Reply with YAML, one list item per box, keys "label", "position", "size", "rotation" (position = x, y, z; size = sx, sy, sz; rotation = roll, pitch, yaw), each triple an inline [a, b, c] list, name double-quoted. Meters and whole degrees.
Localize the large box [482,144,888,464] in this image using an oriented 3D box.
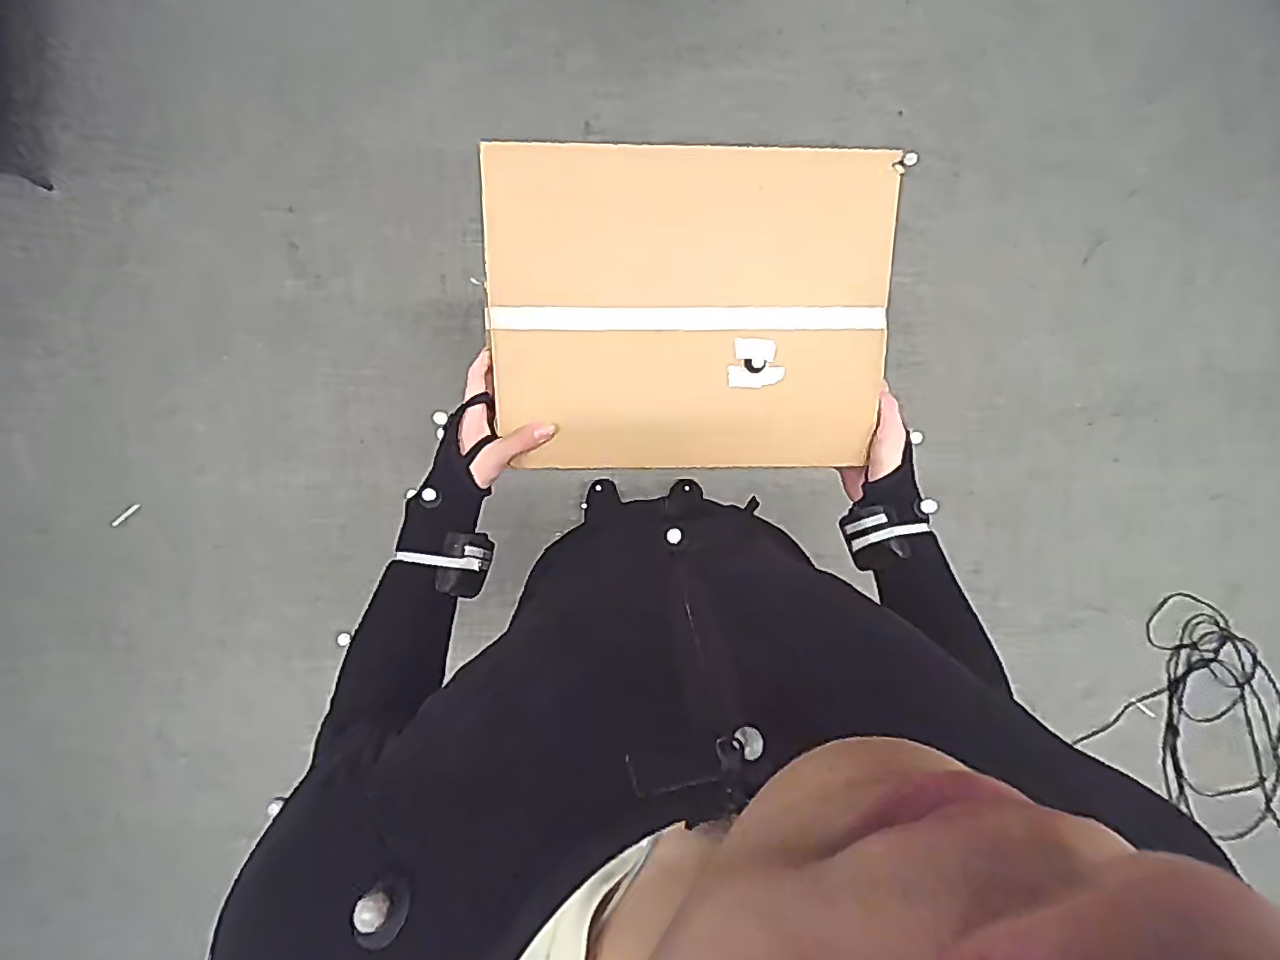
- label: "large box"
  position: [0.040, -0.207, 0.700]
  size: [0.408, 0.320, 0.320]
  rotation: [-1, 104, -3]
